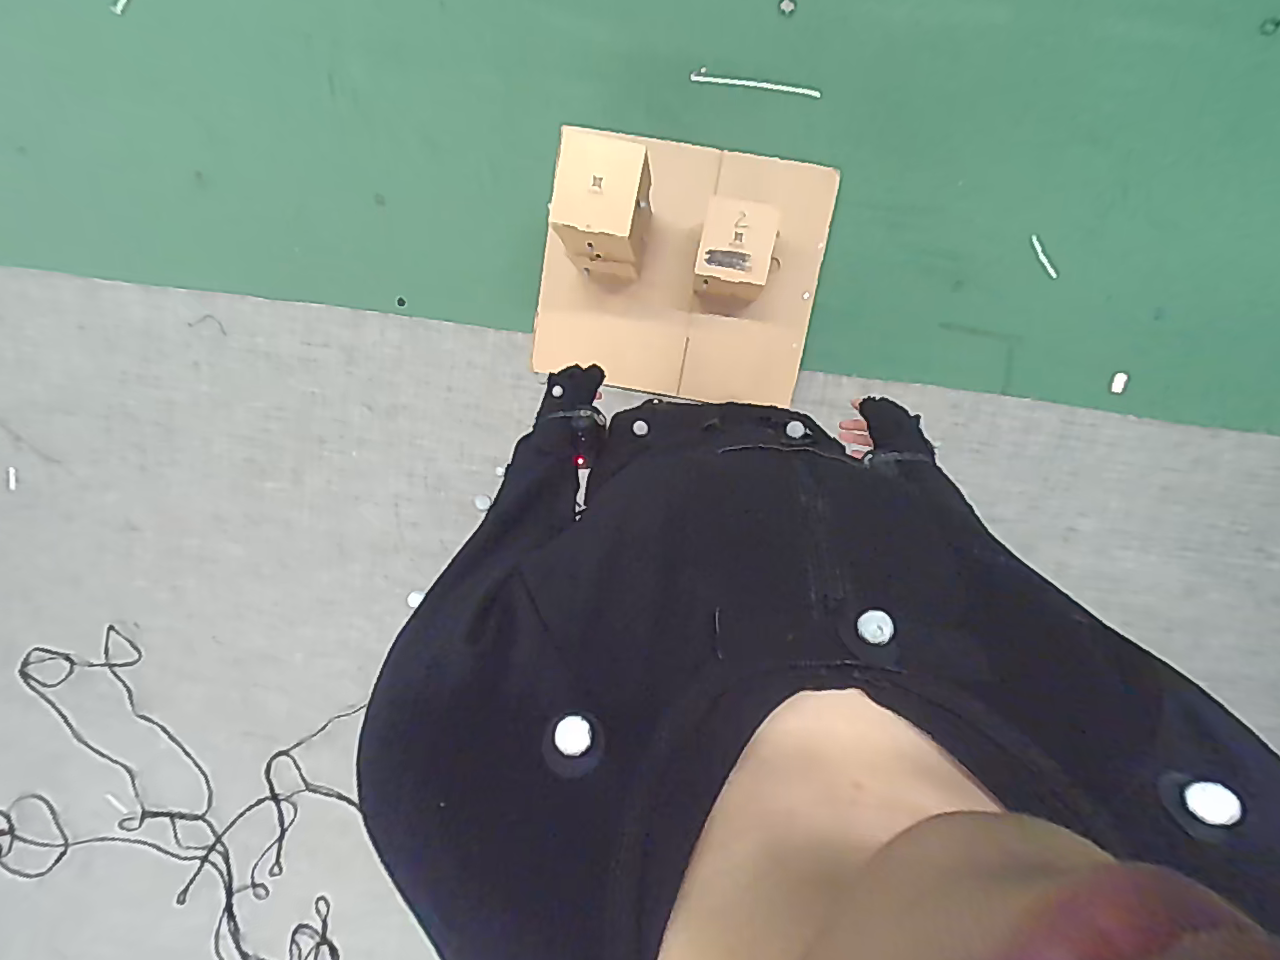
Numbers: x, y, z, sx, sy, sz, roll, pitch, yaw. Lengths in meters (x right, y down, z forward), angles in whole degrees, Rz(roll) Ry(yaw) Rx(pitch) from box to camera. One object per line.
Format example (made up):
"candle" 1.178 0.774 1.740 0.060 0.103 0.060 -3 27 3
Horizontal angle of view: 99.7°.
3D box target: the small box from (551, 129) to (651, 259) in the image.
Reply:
"small box" -0.075 -0.585 1.125 0.168 0.176 0.179 13 99 2

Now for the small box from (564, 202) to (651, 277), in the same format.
"small box" -0.070 -0.598 1.288 0.168 0.176 0.179 12 98 3
